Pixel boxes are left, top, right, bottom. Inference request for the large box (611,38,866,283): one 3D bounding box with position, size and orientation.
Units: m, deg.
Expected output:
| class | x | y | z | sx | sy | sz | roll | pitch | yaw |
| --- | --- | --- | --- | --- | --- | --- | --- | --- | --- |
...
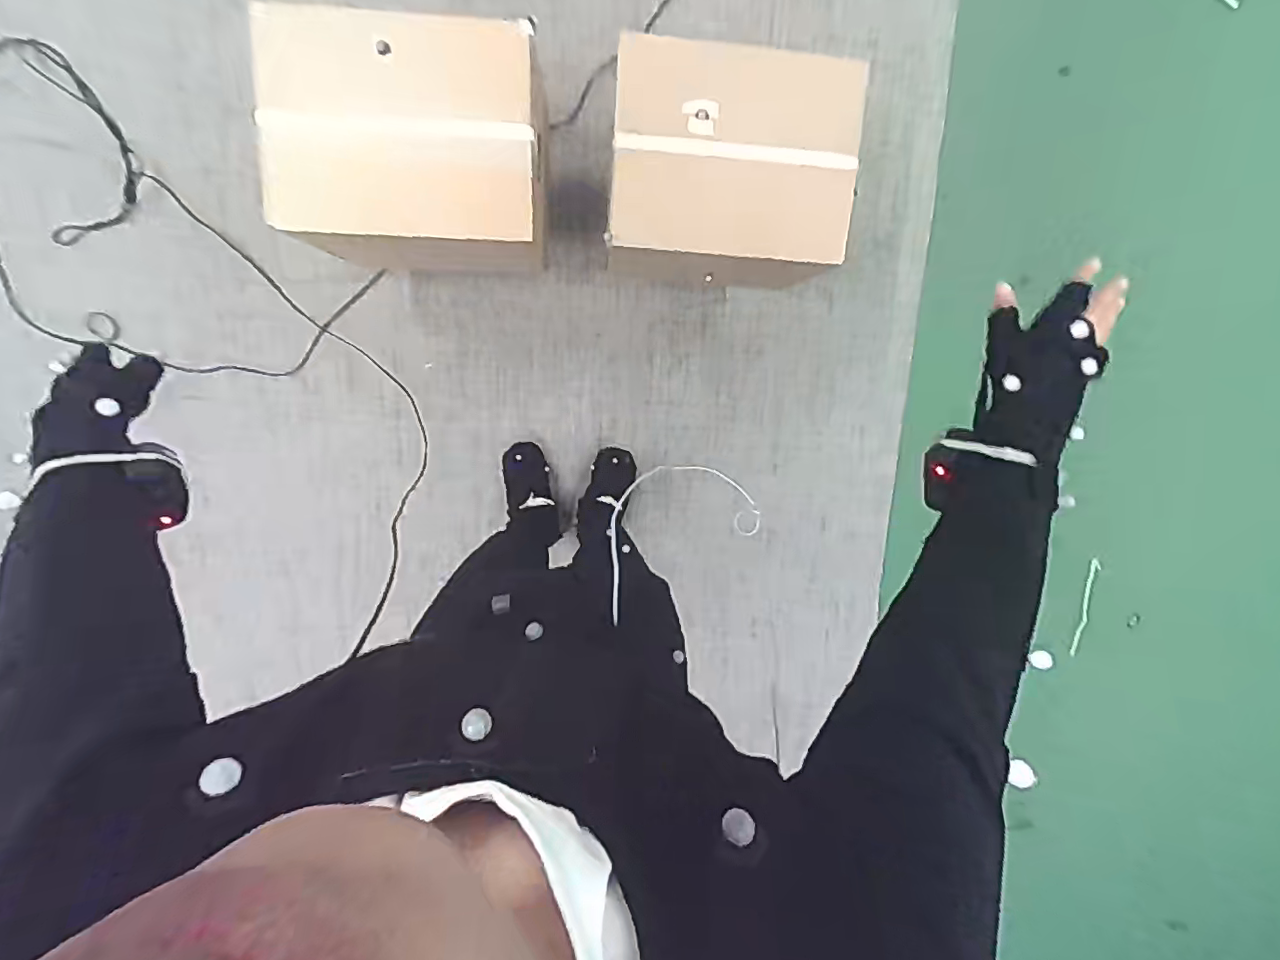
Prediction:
| class | x | y | z | sx | sy | sz | roll | pitch | yaw |
| --- | --- | --- | --- | --- | --- | --- | --- | --- | --- |
| large box | 0.154 | -0.568 | 1.038 | 0.408 | 0.320 | 0.320 | 3 | 101 | -5 |
